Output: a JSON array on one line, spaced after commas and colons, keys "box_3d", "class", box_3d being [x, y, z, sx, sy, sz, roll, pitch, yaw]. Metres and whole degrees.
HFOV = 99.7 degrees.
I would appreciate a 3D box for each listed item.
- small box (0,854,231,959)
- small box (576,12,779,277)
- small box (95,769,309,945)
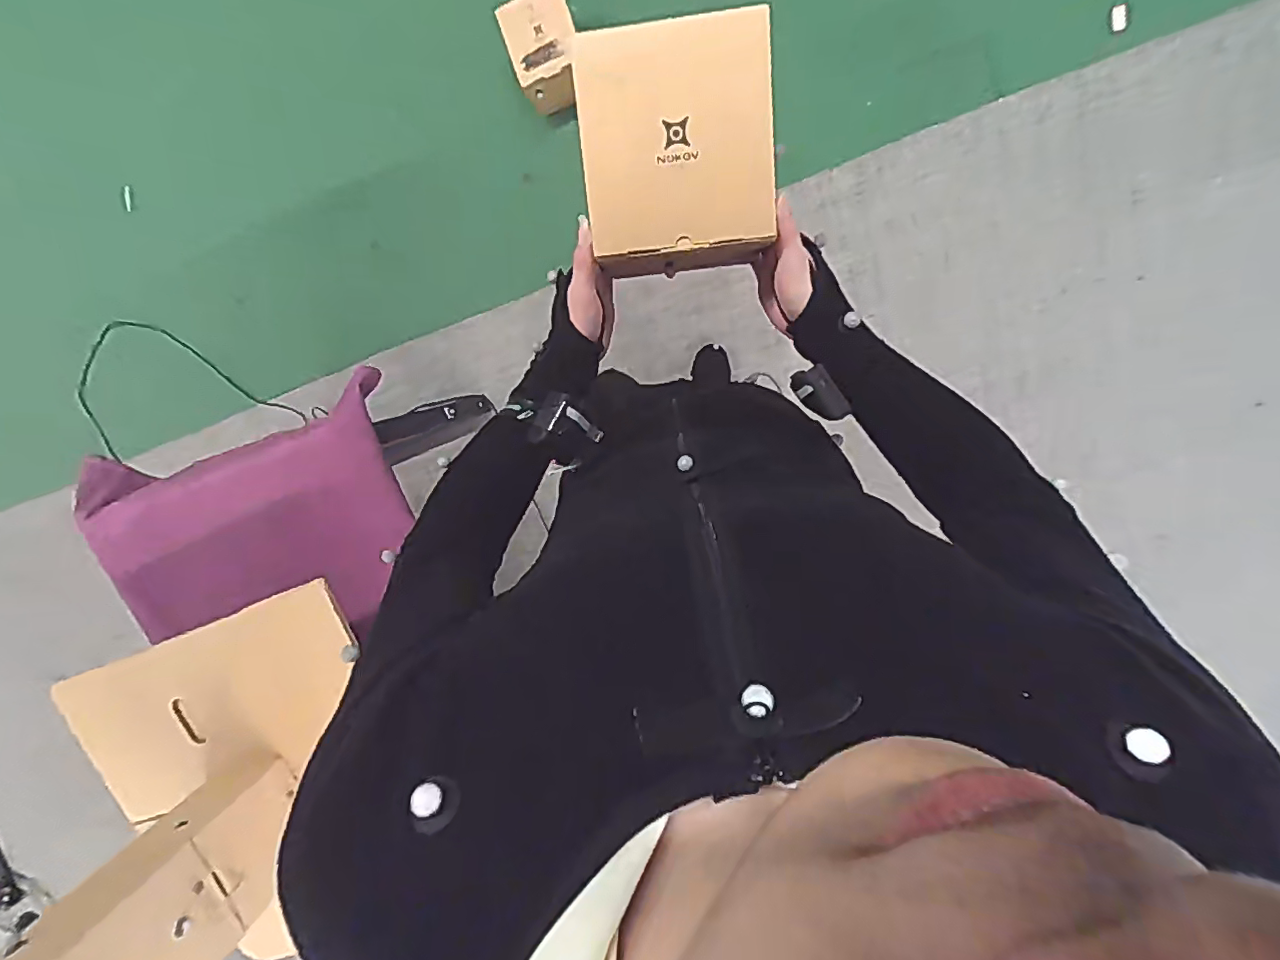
[{"box_3d": [-0.685, 0.624, 0.686, 0.179, 0.176, 0.168, -21, 98, 11], "class": "small box"}, {"box_3d": [0.036, -0.307, 0.534, 0.168, 0.176, 0.179, -5, 106, 3], "class": "small box"}, {"box_3d": [-0.662, 0.589, 0.845, 0.179, 0.176, 0.168, -21, 97, 12], "class": "small box"}]
